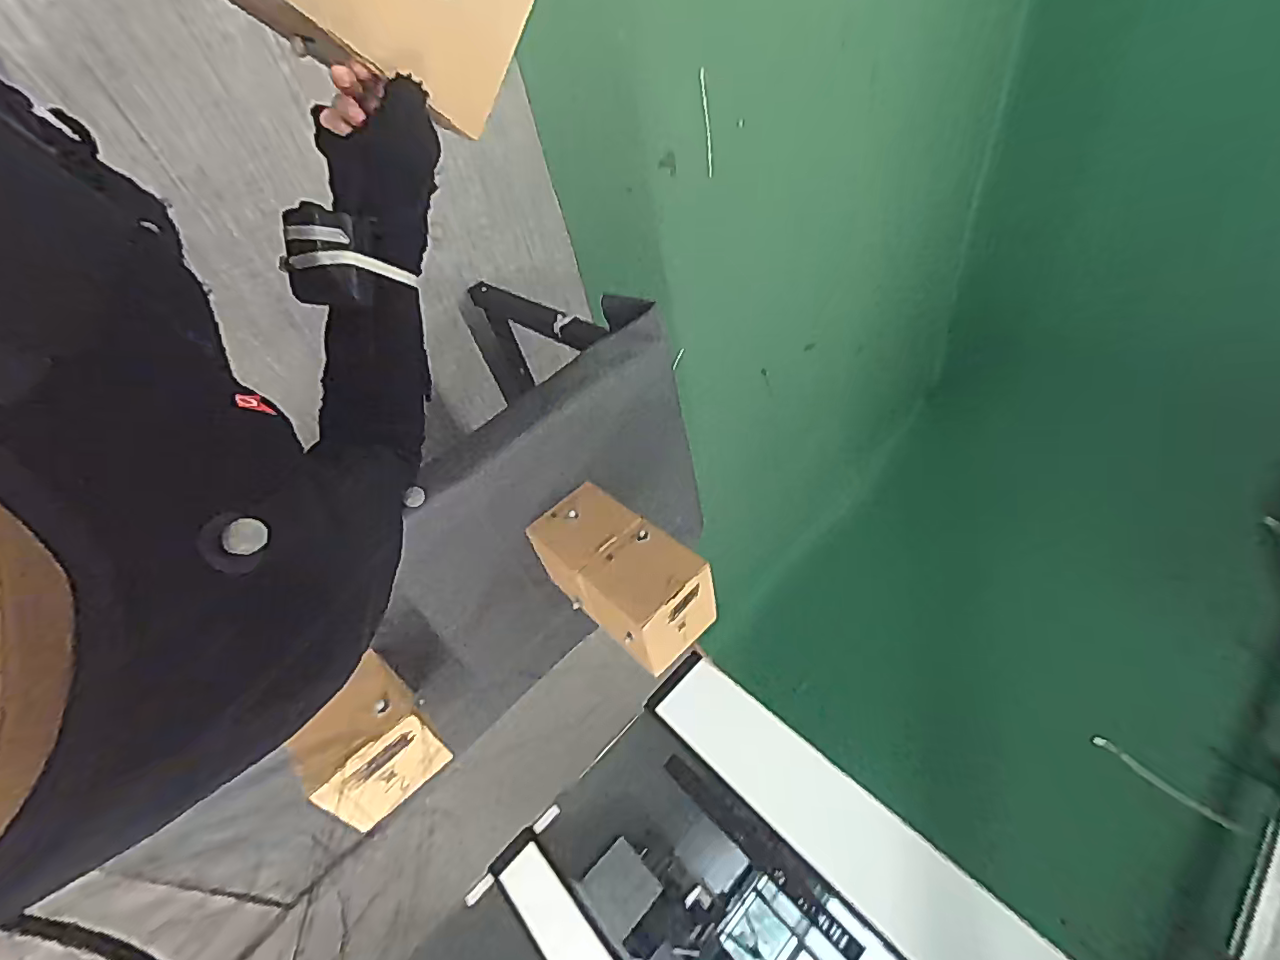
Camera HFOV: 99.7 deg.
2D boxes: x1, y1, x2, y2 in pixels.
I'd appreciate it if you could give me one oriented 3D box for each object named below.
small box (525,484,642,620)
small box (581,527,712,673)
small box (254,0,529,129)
[{"bbox_3d":[-0.101,0.140,1.091,0.168,0.176,0.179,-39,139,-24],"label":"small box"},{"bbox_3d":[0.012,0.210,0.996,0.168,0.176,0.179,-37,139,-24],"label":"small box"},{"bbox_3d":[-0.197,-0.413,0.397,0.179,0.176,0.168,-60,157,16],"label":"small box"}]
